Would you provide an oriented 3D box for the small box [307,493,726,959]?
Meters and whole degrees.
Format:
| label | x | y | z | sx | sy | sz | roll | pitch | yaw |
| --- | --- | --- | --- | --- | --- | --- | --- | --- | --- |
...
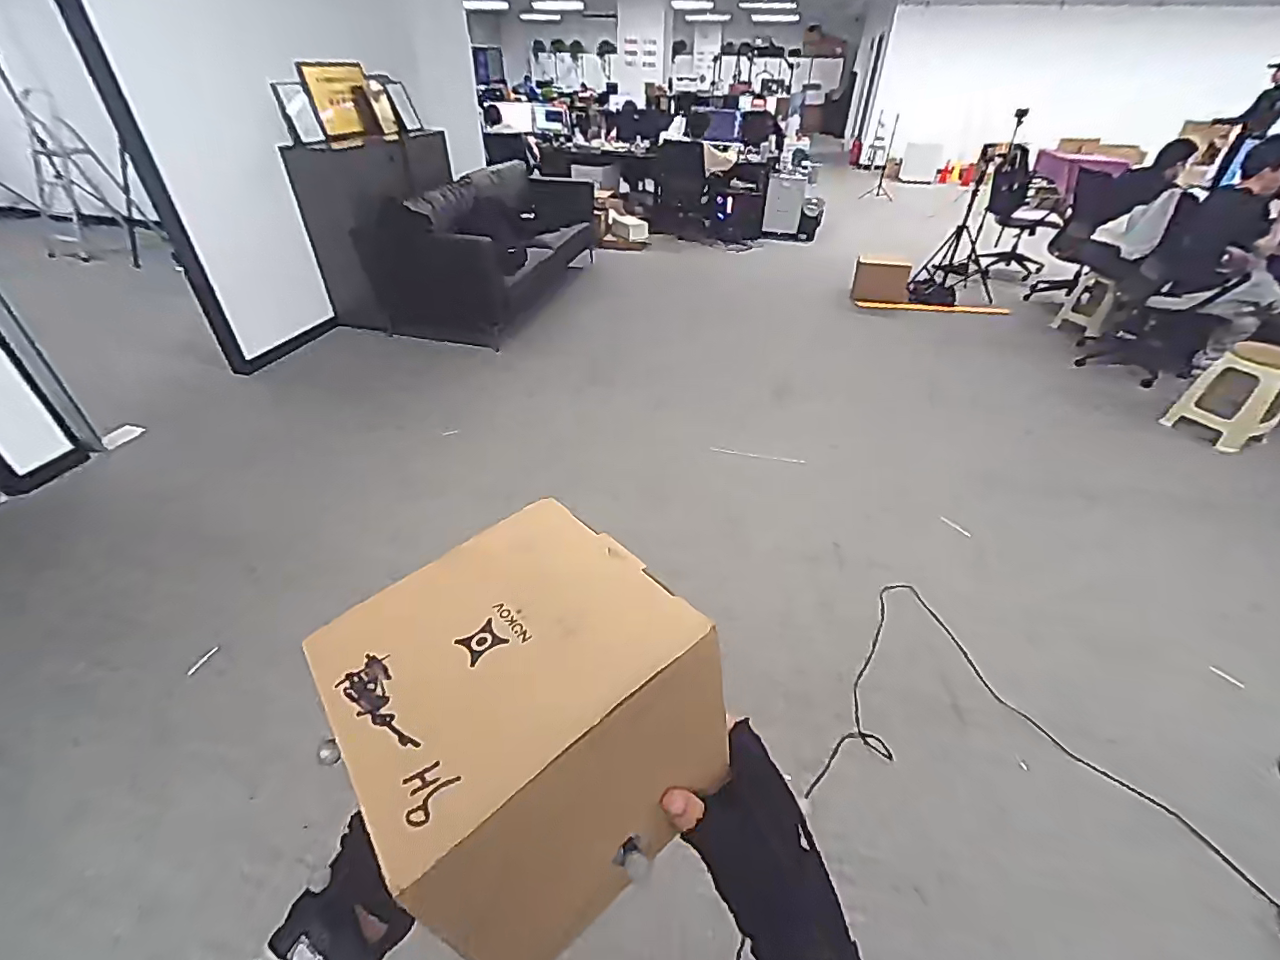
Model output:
| label | x | y | z | sx | sy | sz | roll | pitch | yaw |
| --- | --- | --- | --- | --- | --- | --- | --- | --- | --- |
| small box | -0.064 | 0.143 | 0.339 | 0.179 | 0.176 | 0.168 | -31 | 42 | -27 |
